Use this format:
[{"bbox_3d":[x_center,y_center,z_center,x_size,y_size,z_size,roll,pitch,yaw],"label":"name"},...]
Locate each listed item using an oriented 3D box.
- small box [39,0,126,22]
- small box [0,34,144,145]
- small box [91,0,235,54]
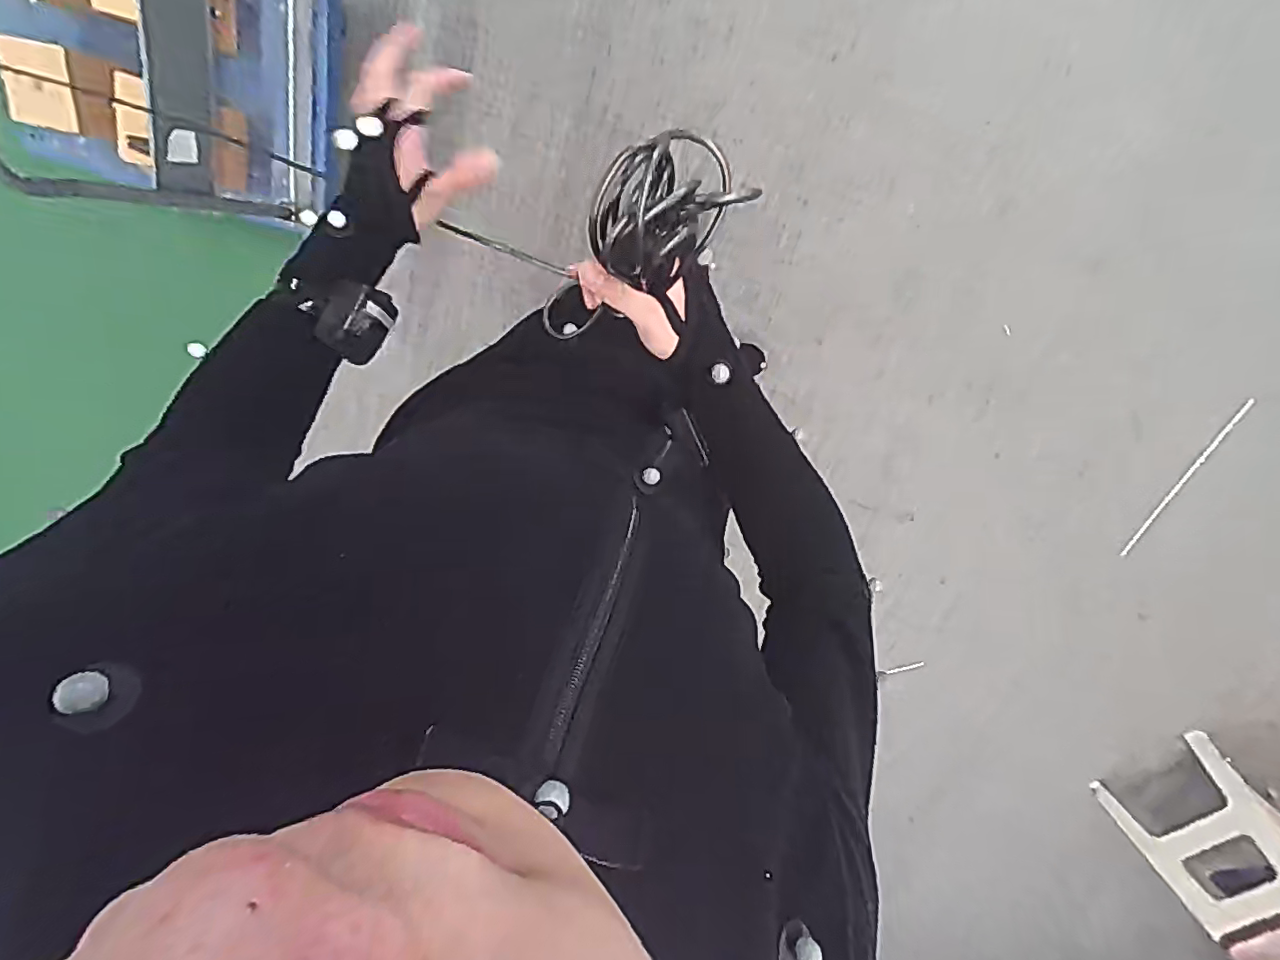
[{"bbox_3d":[-1.268,-1.127,1.163,0.179,0.176,0.168,14,114,4],"label":"small box"},{"bbox_3d":[-1.314,-0.901,1.263,0.179,0.176,0.168,14,113,5],"label":"small box"},{"bbox_3d":[-1.010,-1.047,1.150,0.179,0.176,0.168,18,114,2],"label":"small box"}]
